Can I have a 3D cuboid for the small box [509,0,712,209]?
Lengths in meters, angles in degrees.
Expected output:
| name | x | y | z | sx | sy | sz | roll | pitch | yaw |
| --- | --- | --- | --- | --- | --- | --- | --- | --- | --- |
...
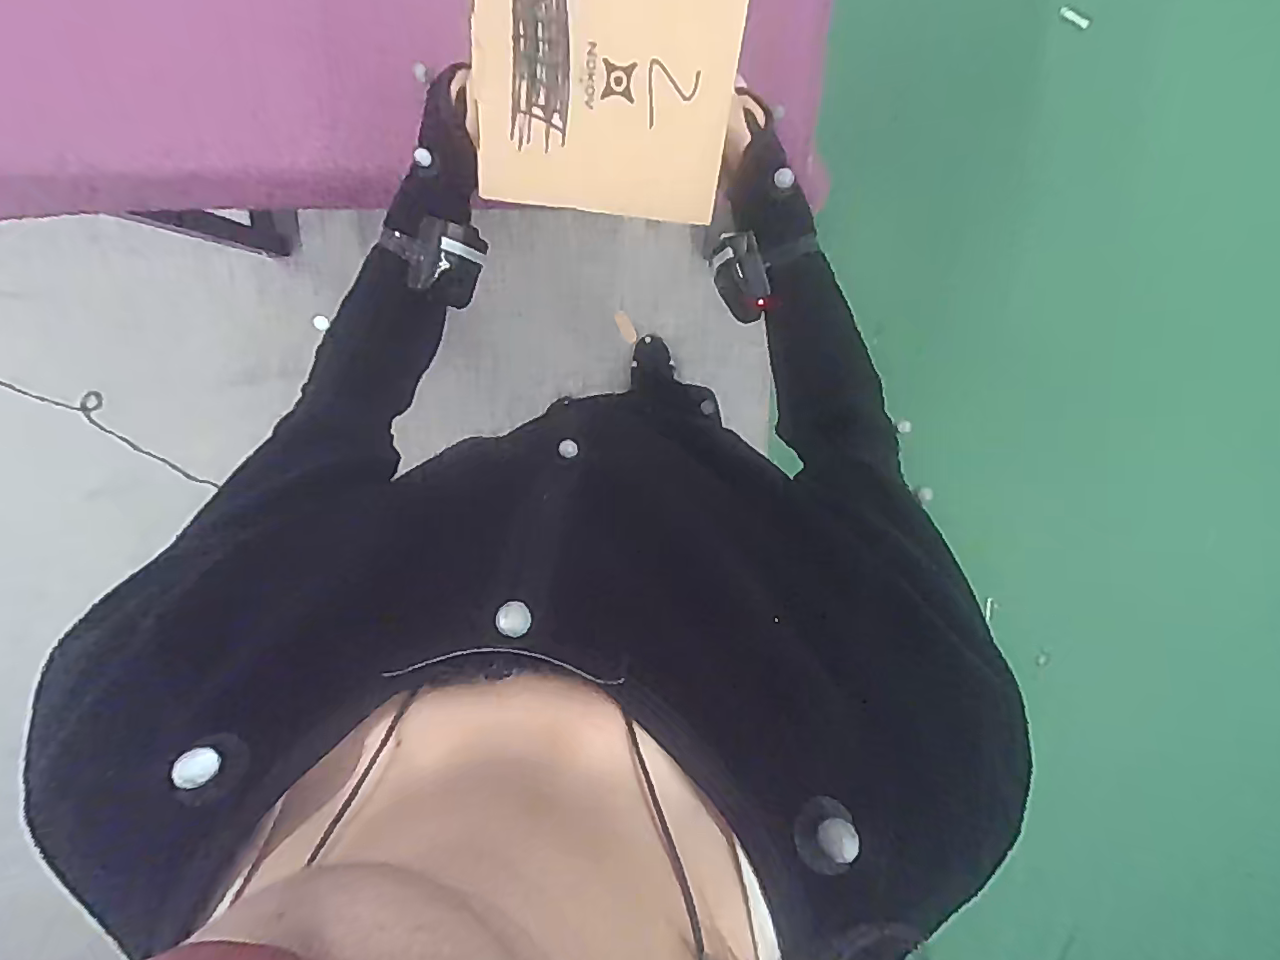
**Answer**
| name | x | y | z | sx | sy | sz | roll | pitch | yaw |
| --- | --- | --- | --- | --- | --- | --- | --- | --- | --- |
| small box | -0.036 | -0.403 | 0.566 | 0.168 | 0.176 | 0.179 | 8 | 121 | -9 |
